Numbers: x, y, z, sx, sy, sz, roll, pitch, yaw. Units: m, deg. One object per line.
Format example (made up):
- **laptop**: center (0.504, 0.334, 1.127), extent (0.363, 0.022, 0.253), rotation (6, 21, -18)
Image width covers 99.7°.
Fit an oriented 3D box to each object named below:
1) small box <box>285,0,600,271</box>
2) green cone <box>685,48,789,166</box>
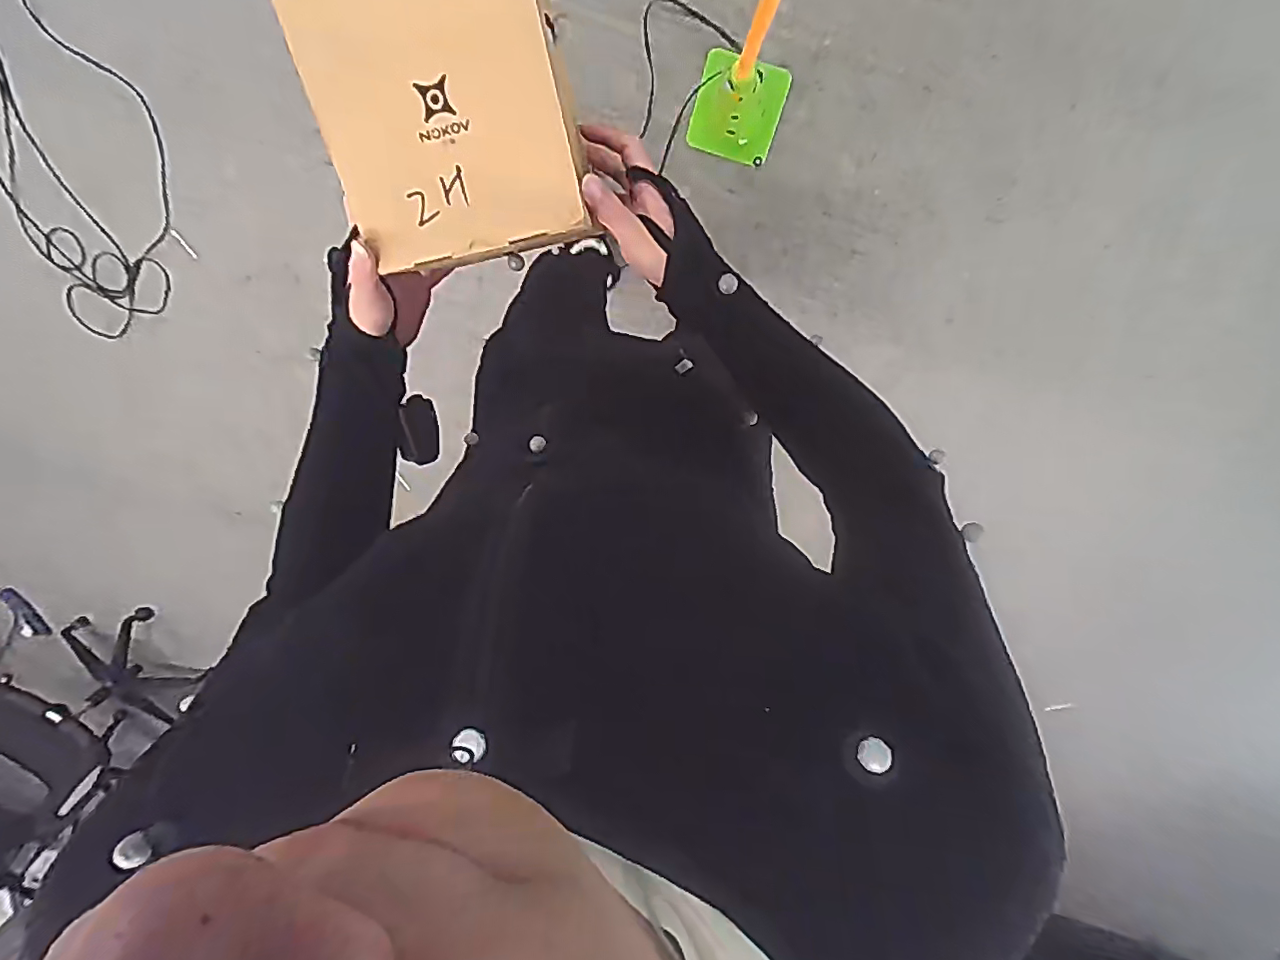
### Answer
- **small box**: center (-0.134, -0.281, 0.447), extent (0.168, 0.176, 0.179), rotation (-10, 113, 5)
- **green cone**: center (0.199, -0.800, 1.112), extent (0.202, 0.368, 0.200), rotation (18, 116, 1)
